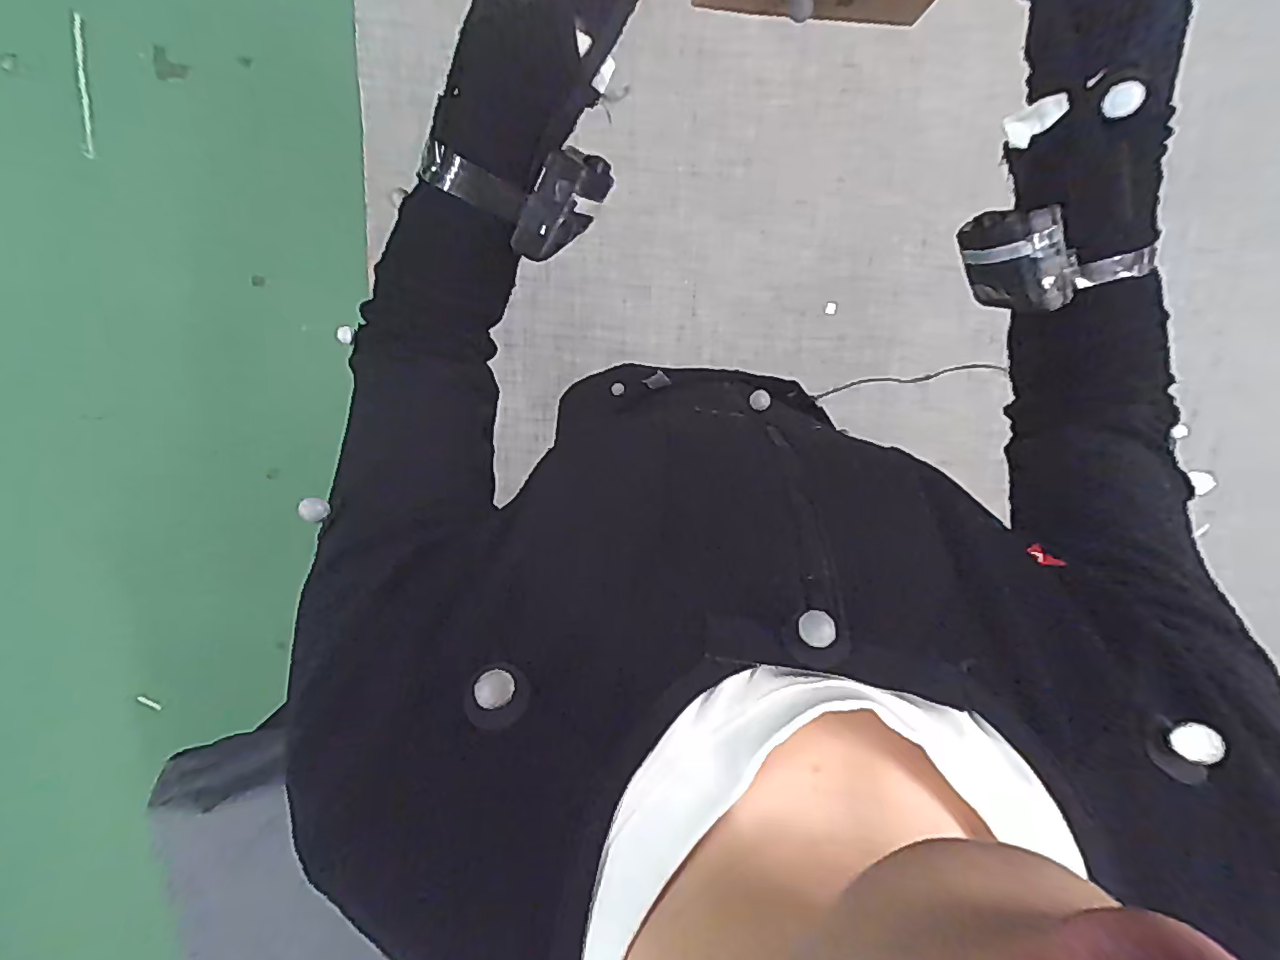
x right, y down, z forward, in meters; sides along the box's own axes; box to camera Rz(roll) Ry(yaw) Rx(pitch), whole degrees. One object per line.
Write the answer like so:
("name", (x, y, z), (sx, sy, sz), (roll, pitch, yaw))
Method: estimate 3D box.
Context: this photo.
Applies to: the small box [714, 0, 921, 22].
("small box", (0.126, -0.402, 0.291), (0.168, 0.176, 0.179), (3, 104, -2))
